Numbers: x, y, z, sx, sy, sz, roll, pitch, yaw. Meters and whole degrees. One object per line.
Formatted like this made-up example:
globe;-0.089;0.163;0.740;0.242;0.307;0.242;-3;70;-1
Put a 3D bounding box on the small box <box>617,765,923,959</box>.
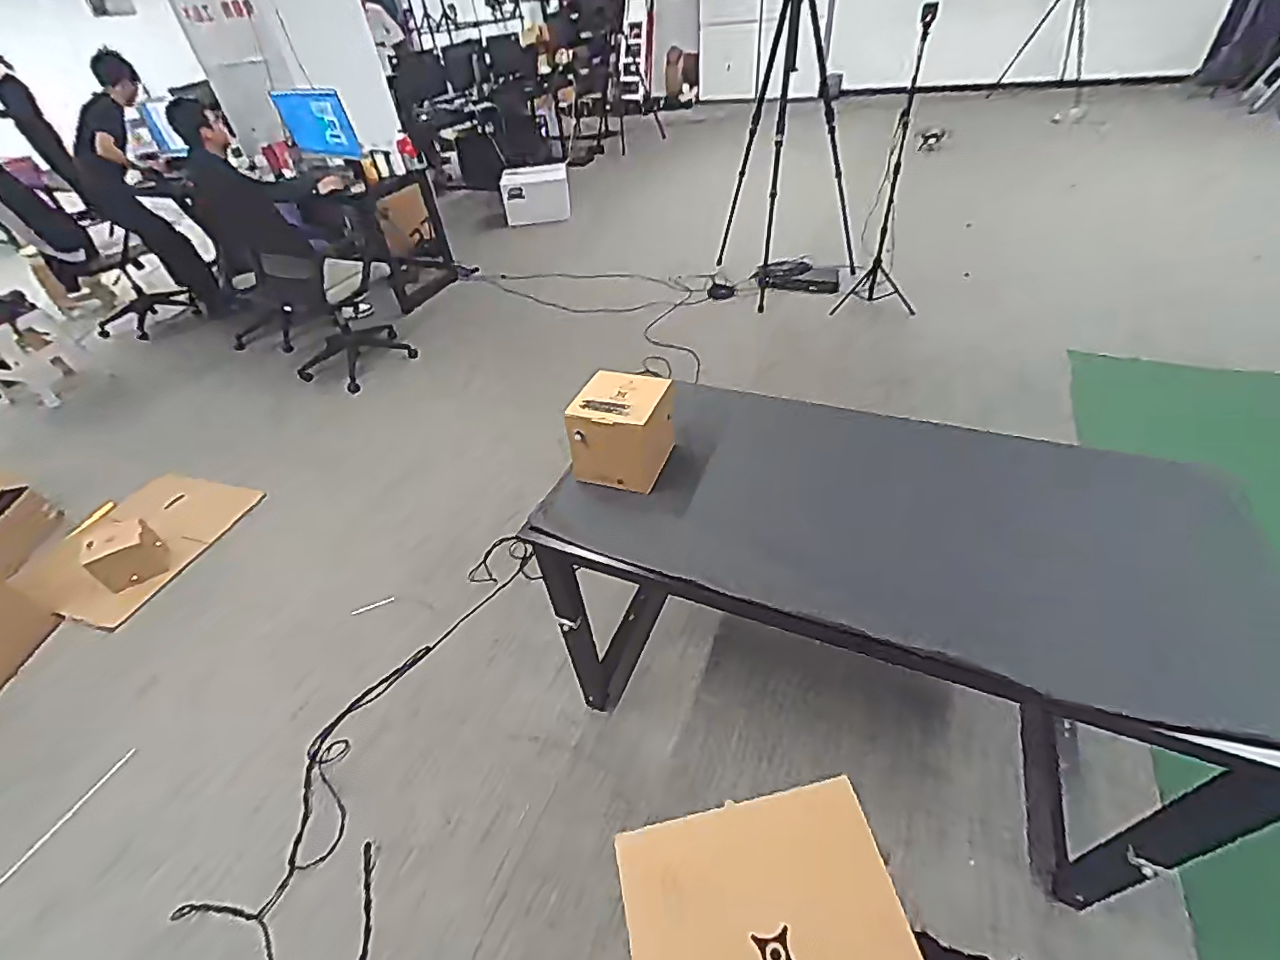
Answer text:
small box;0.084;0.327;0.373;0.168;0.176;0.179;-12;51;-3
